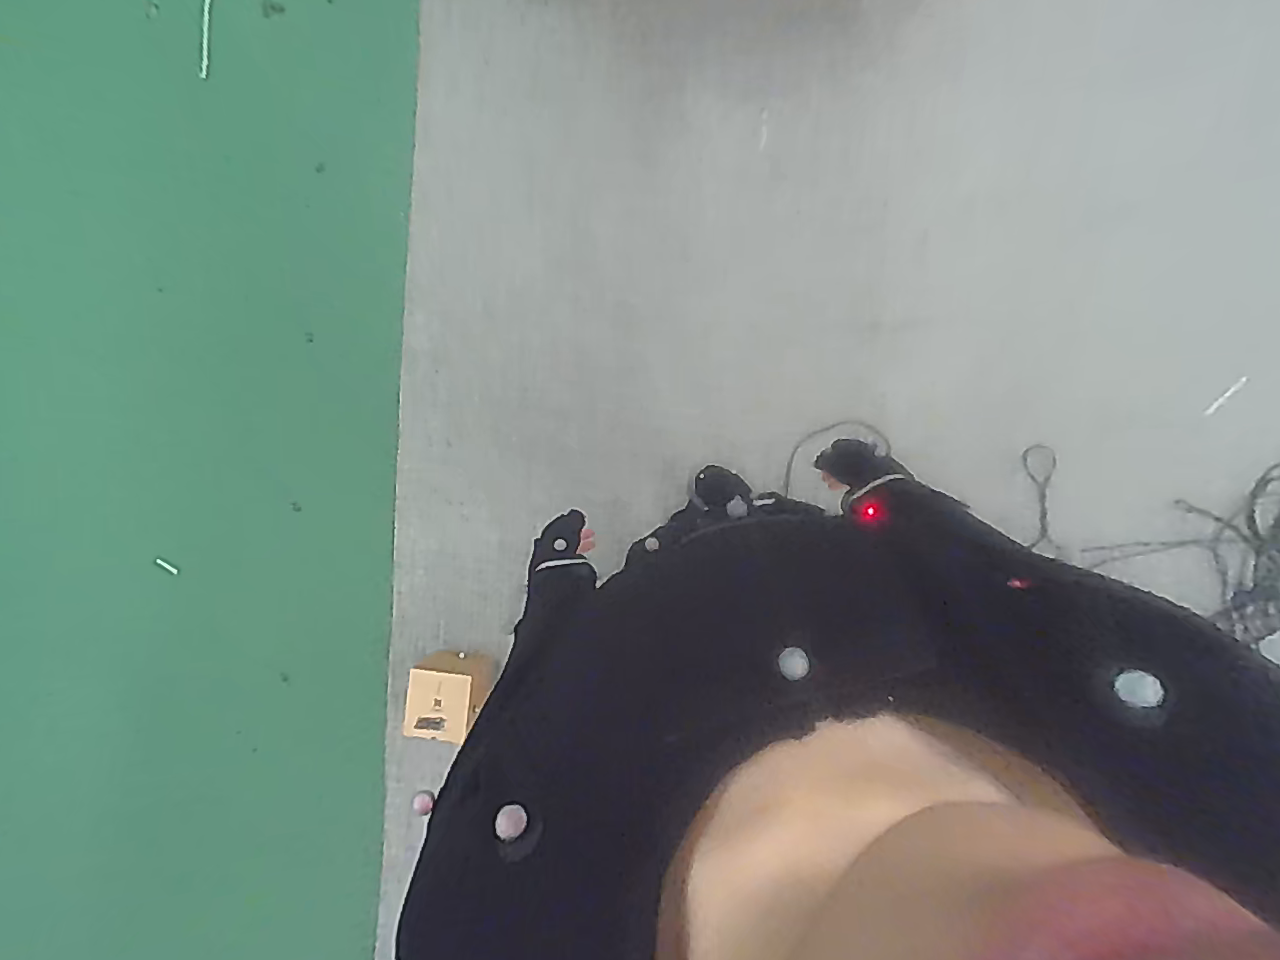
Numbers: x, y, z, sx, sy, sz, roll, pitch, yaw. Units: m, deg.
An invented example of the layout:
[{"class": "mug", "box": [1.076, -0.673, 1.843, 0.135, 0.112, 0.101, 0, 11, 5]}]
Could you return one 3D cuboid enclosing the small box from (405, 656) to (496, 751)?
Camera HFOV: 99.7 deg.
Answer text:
[{"class": "small box", "box": [-0.494, 0.584, 1.430, 0.168, 0.176, 0.179, 6, 87, 4]}]
